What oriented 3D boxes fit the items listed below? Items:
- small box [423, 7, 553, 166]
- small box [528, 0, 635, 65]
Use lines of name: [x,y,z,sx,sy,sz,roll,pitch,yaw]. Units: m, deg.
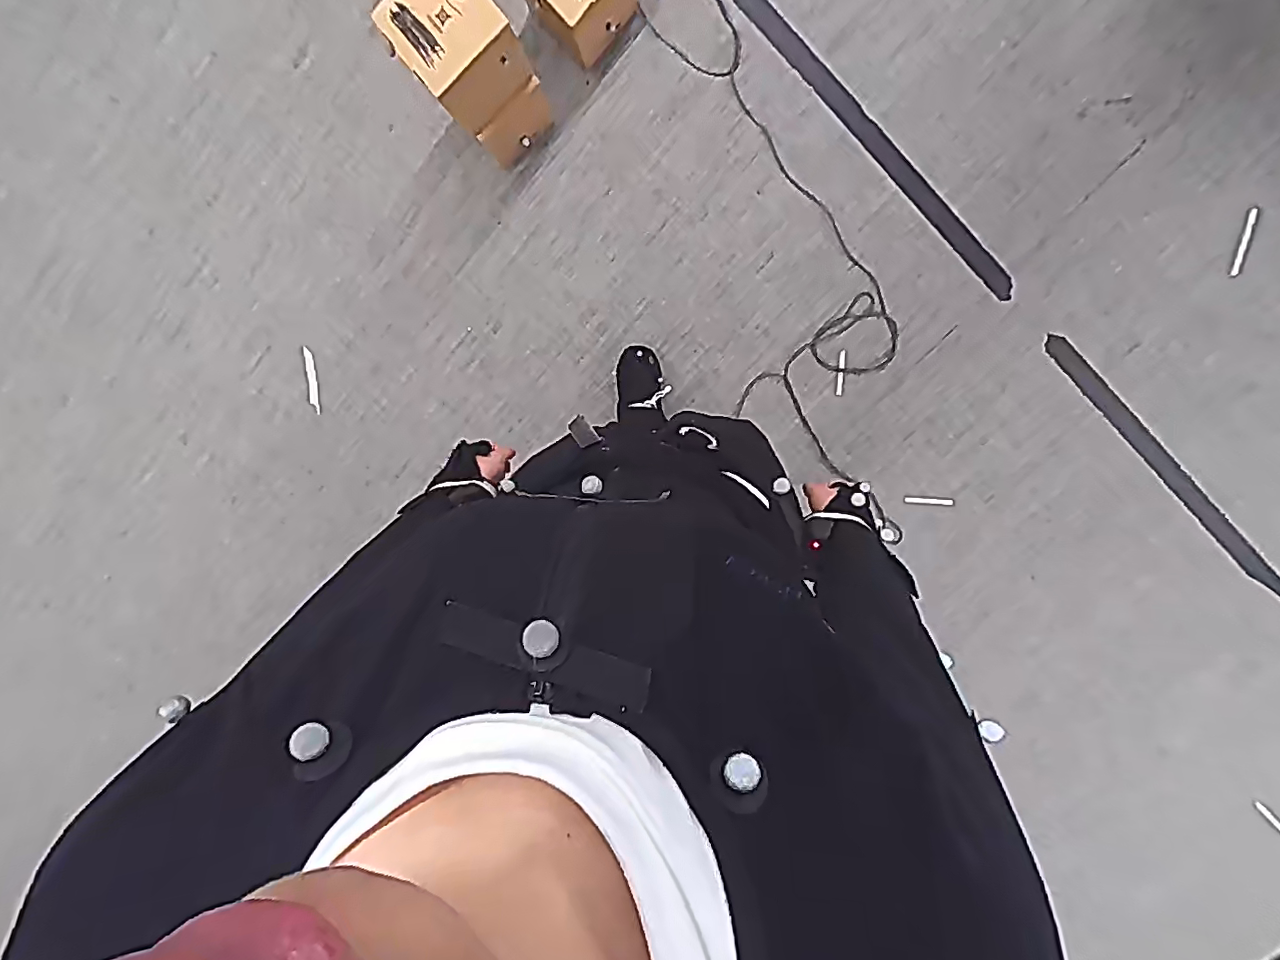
small box: [-0.307,-0.806,1.132,0.168,0.176,0.179,-39,99,10]
small box: [-0.127,-0.995,1.083,0.179,0.176,0.168,44,102,-7]
